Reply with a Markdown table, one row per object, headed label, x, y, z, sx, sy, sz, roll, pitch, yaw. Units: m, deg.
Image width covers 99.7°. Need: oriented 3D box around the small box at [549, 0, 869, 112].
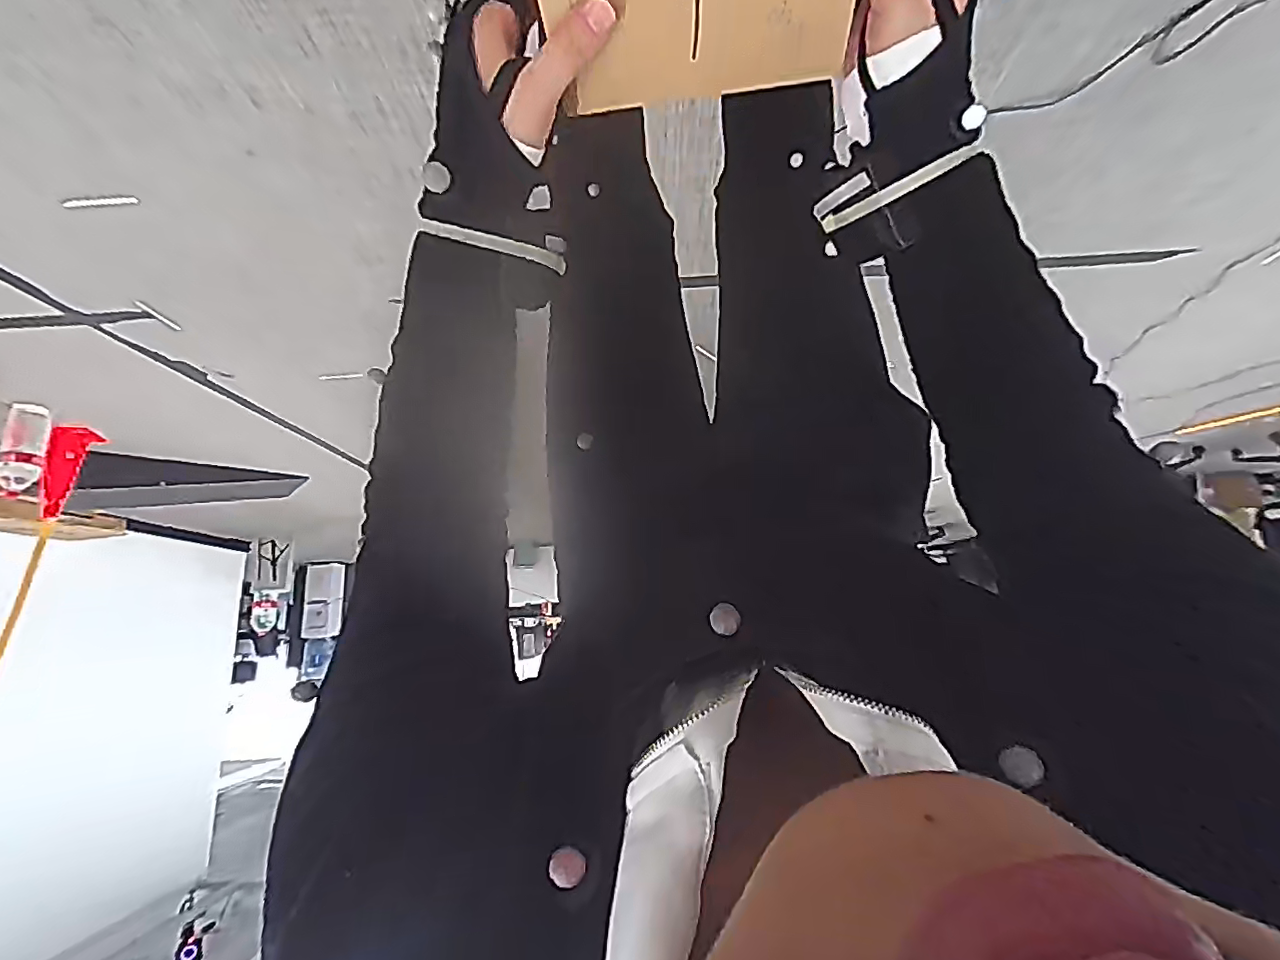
| label | x | y | z | sx | sy | sz | roll | pitch | yaw |
| --- | --- | --- | --- | --- | --- | --- | --- | --- | --- |
| small box | 0.029 | -0.334 | 0.275 | 0.168 | 0.176 | 0.179 | -4 | 153 | 6 |
